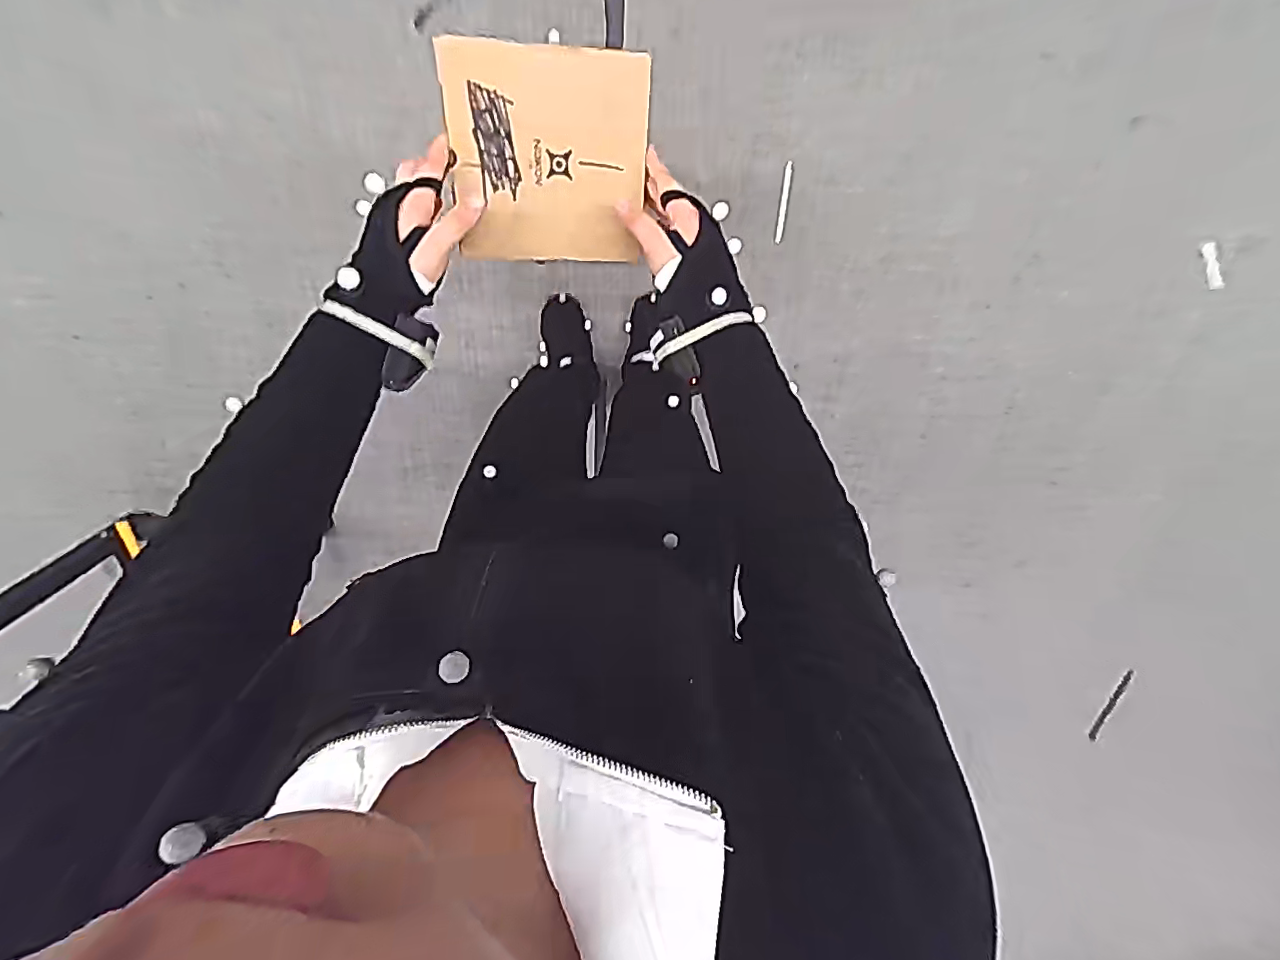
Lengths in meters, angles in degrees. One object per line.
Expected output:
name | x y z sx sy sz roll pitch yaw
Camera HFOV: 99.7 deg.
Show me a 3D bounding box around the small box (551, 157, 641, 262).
small box | -0.084 -0.555 1.110 0.168 0.176 0.179 -2 119 2
